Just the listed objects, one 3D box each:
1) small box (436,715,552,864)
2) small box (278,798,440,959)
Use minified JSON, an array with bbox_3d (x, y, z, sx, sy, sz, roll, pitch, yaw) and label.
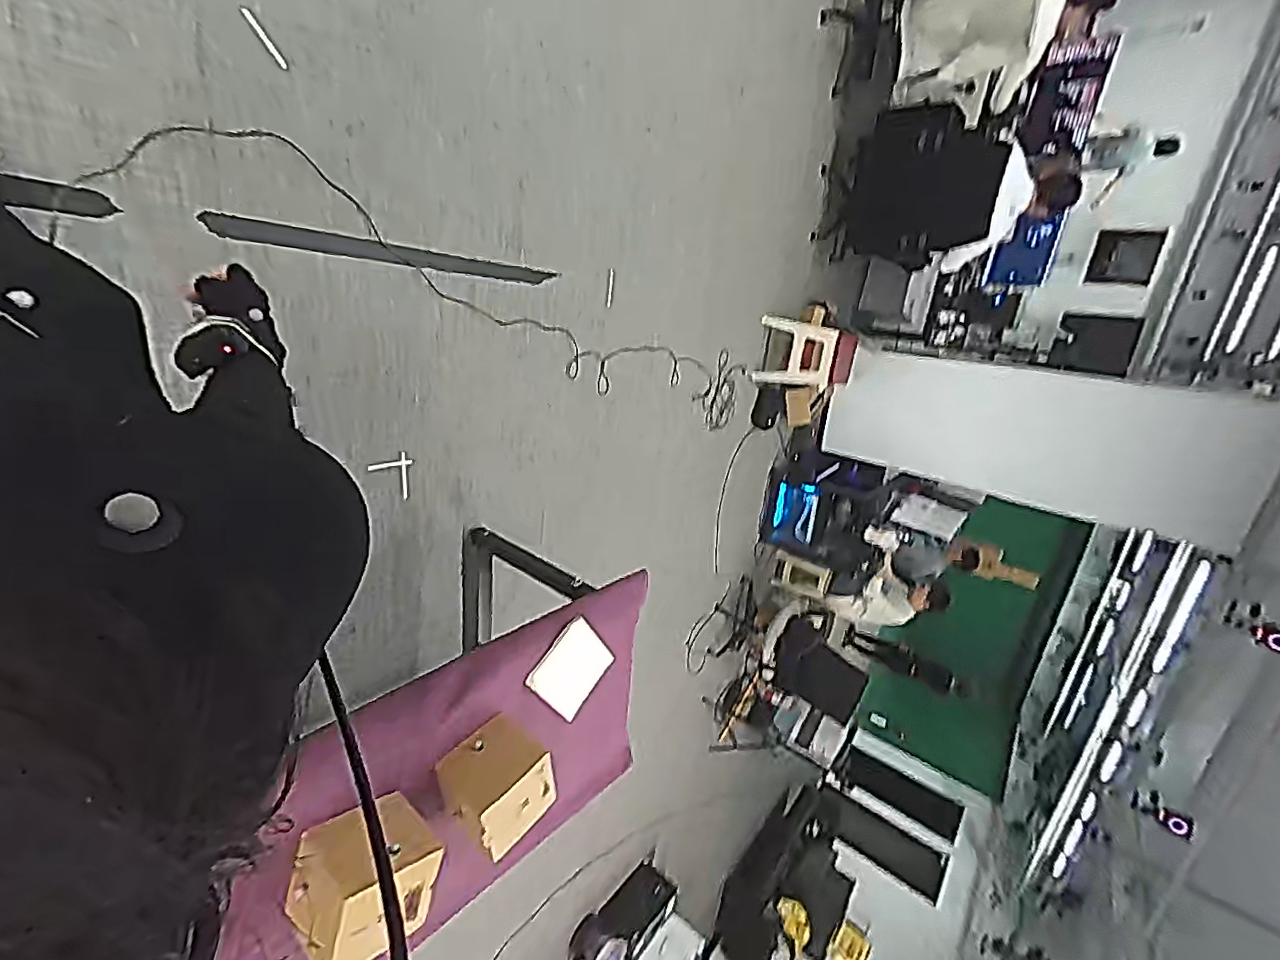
[{"bbox_3d":[-0.313,0.647,1.151,0.179,0.176,0.168,-30,129,-43],"label":"small box"},{"bbox_3d":[-0.486,0.697,0.937,0.179,0.176,0.168,8,101,-54],"label":"small box"}]
